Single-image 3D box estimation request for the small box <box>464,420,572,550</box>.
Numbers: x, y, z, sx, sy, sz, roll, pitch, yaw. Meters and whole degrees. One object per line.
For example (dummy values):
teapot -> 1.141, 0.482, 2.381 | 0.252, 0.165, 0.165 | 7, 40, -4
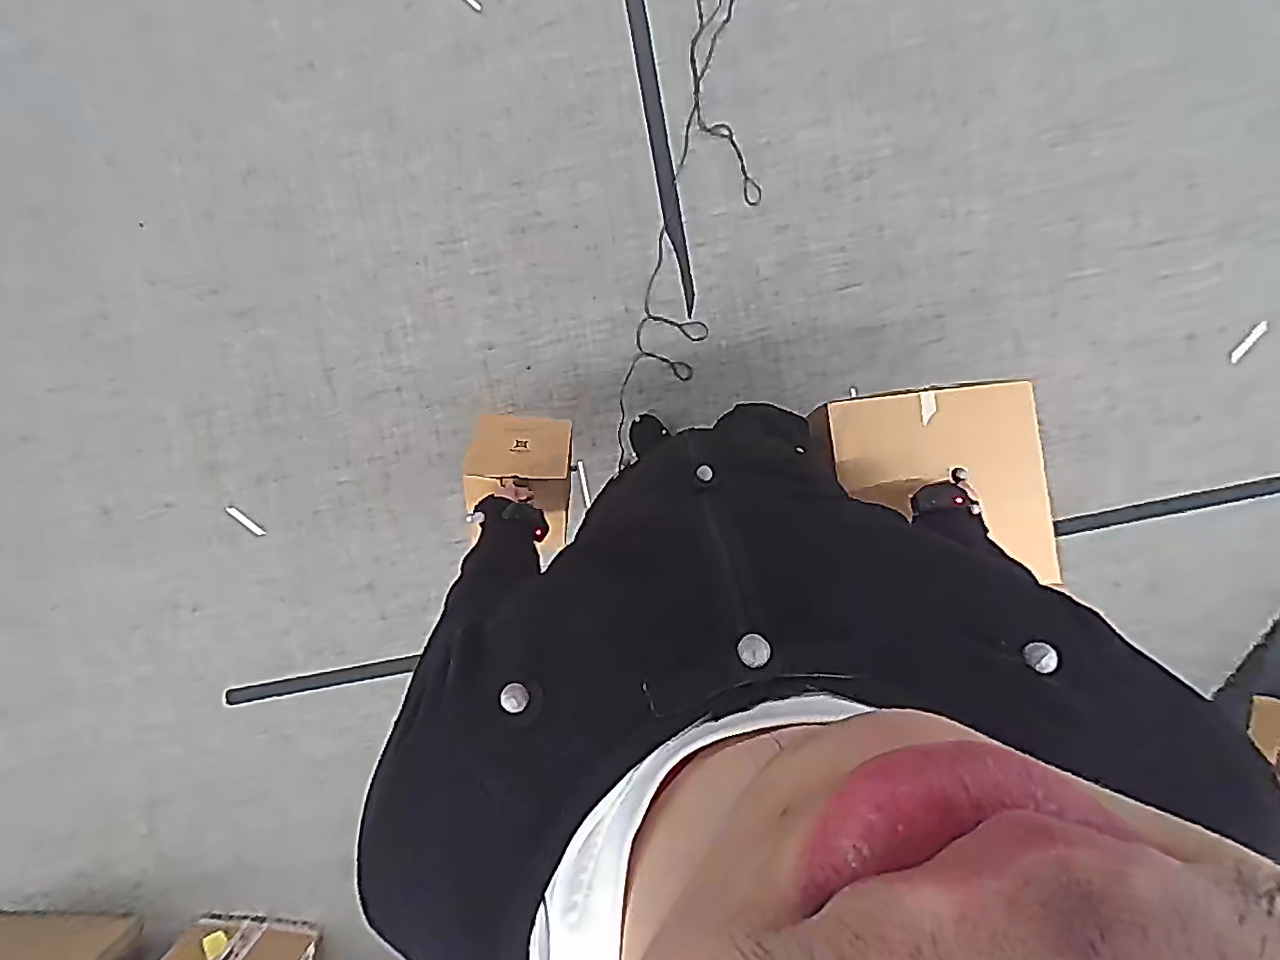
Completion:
small box -> -0.213, 0.010, 0.984 | 0.168, 0.179, 0.176 | 4, 128, -7
